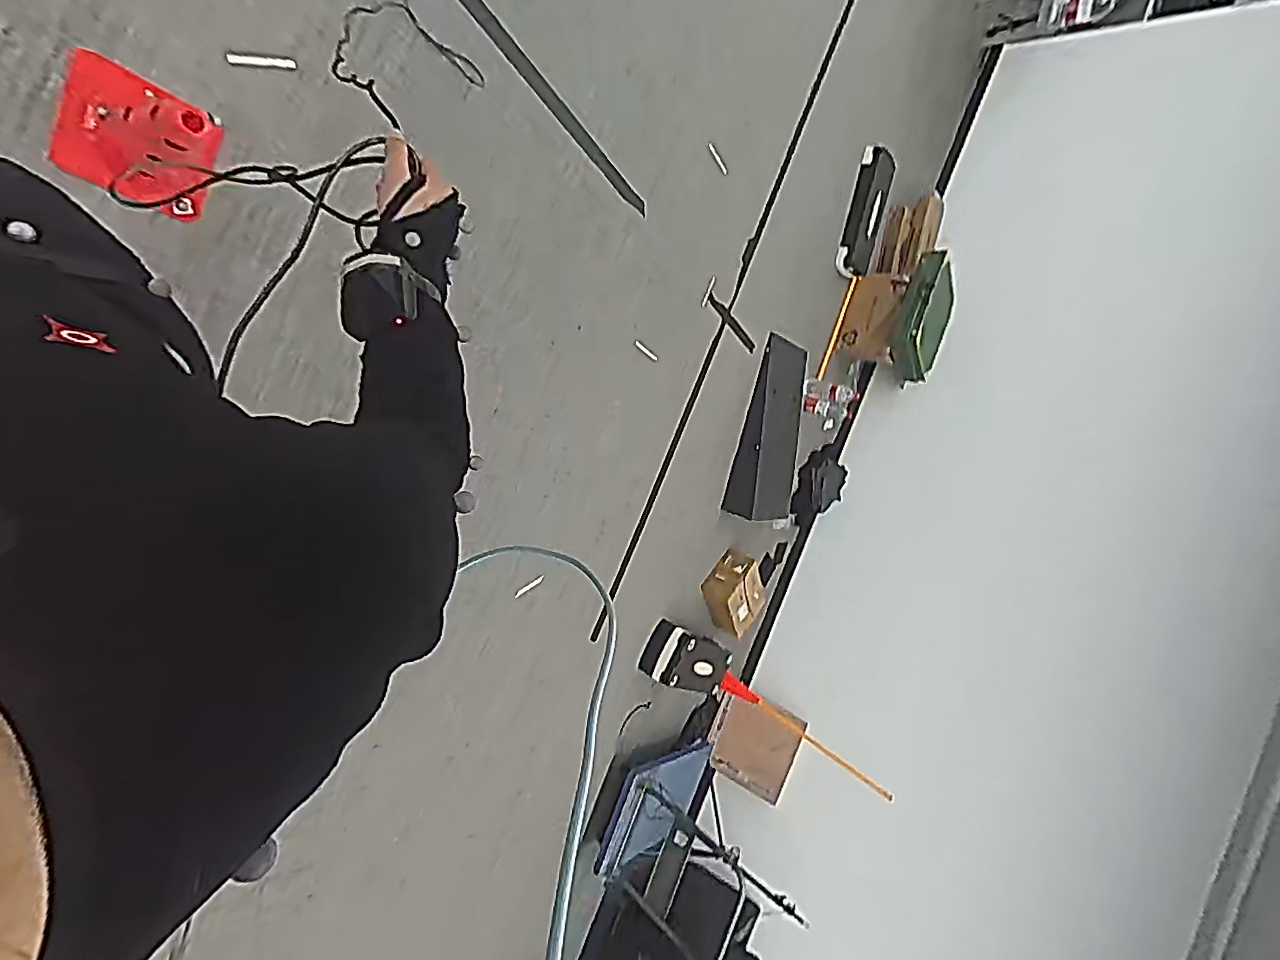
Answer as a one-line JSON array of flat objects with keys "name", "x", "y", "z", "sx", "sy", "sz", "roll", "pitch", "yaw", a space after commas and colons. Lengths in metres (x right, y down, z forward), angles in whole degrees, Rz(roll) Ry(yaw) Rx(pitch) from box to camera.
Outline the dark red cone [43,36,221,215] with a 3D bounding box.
[{"name": "dark red cone", "x": -0.728, "y": -0.542, "z": 0.816, "sx": 0.202, "sy": 0.394, "sz": 0.201, "roll": 12, "pitch": 96, "yaw": -53}]
